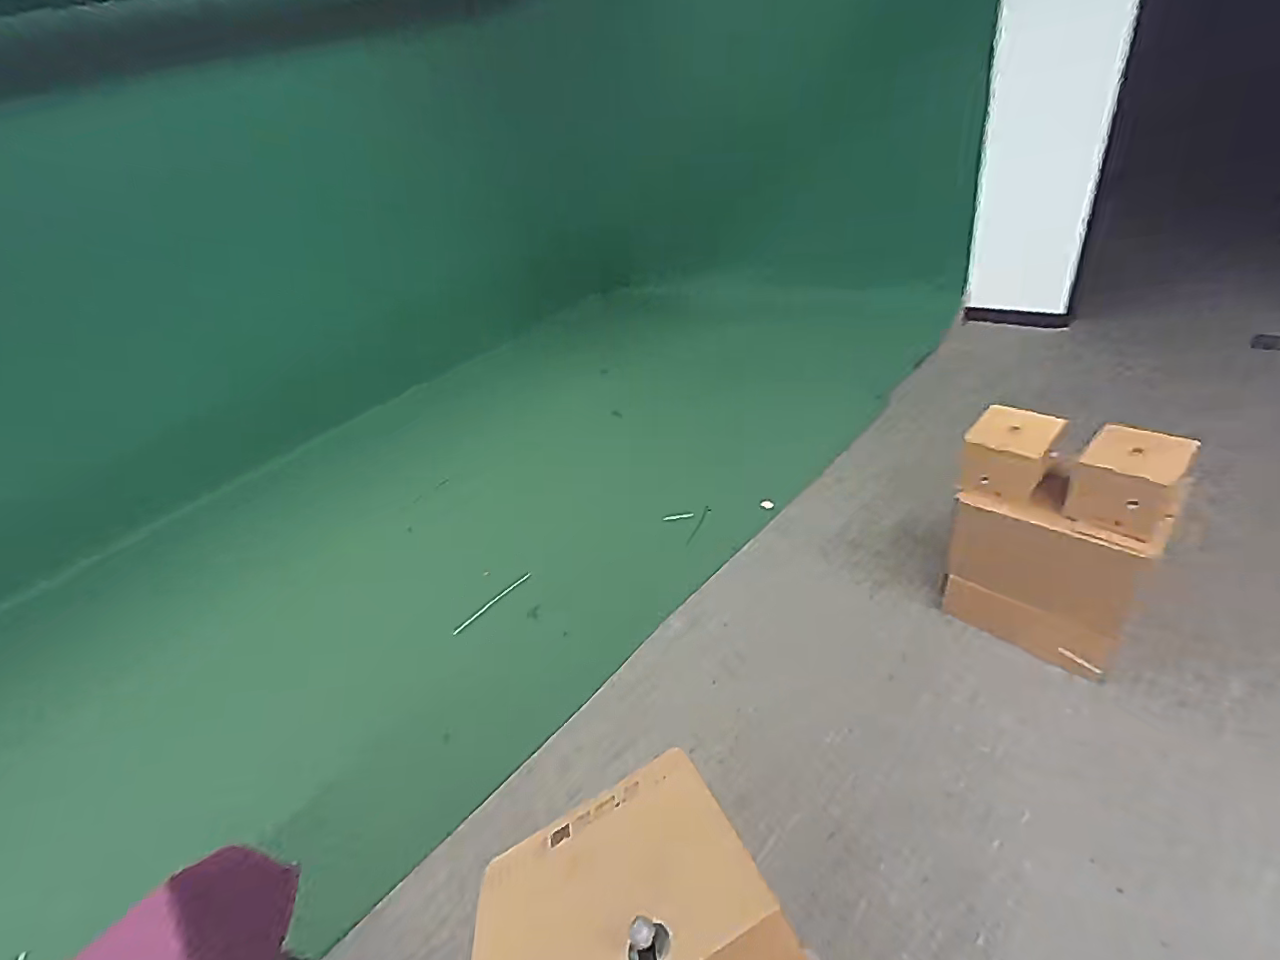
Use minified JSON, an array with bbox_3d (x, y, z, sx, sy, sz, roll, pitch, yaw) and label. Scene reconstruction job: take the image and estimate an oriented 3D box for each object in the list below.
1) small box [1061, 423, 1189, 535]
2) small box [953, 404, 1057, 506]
[{"bbox_3d":[1.102,-0.002,1.242,0.179,0.176,0.168,-35,38,-25],"label":"small box"},{"bbox_3d":[0.935,-0.065,1.398,0.179,0.176,0.168,-40,43,-25],"label":"small box"}]
